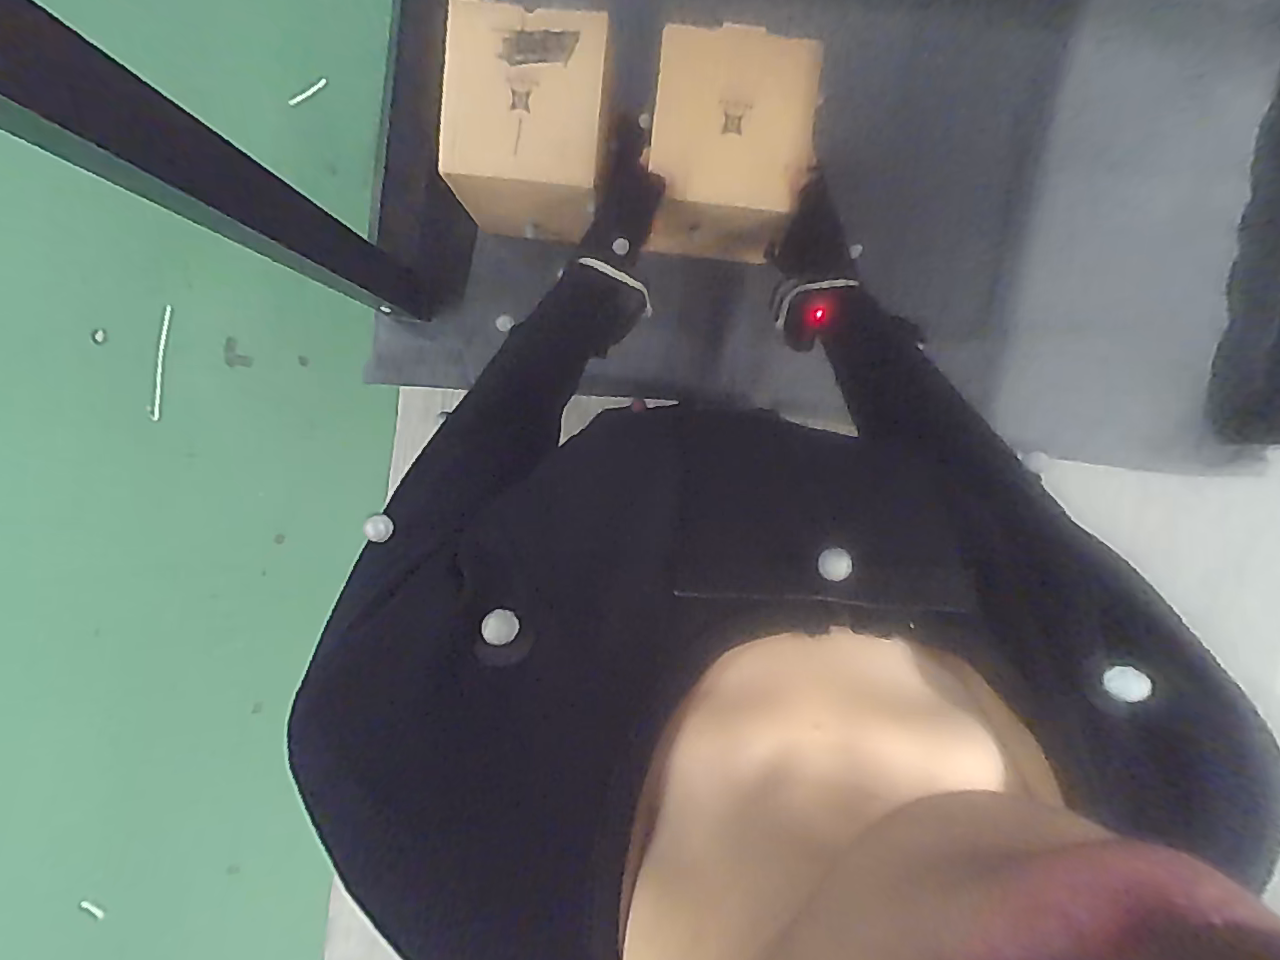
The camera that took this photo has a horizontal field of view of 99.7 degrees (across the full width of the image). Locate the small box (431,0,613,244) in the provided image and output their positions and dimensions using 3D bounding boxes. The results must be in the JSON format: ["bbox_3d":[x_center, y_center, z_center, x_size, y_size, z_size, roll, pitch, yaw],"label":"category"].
[{"bbox_3d":[-0.124,-0.404,0.632,0.168,0.176,0.179,7,94,0],"label":"small box"}]

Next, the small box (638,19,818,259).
[{"bbox_3d":[0.093,-0.378,0.633,0.168,0.176,0.179,7,93,1],"label":"small box"}]
